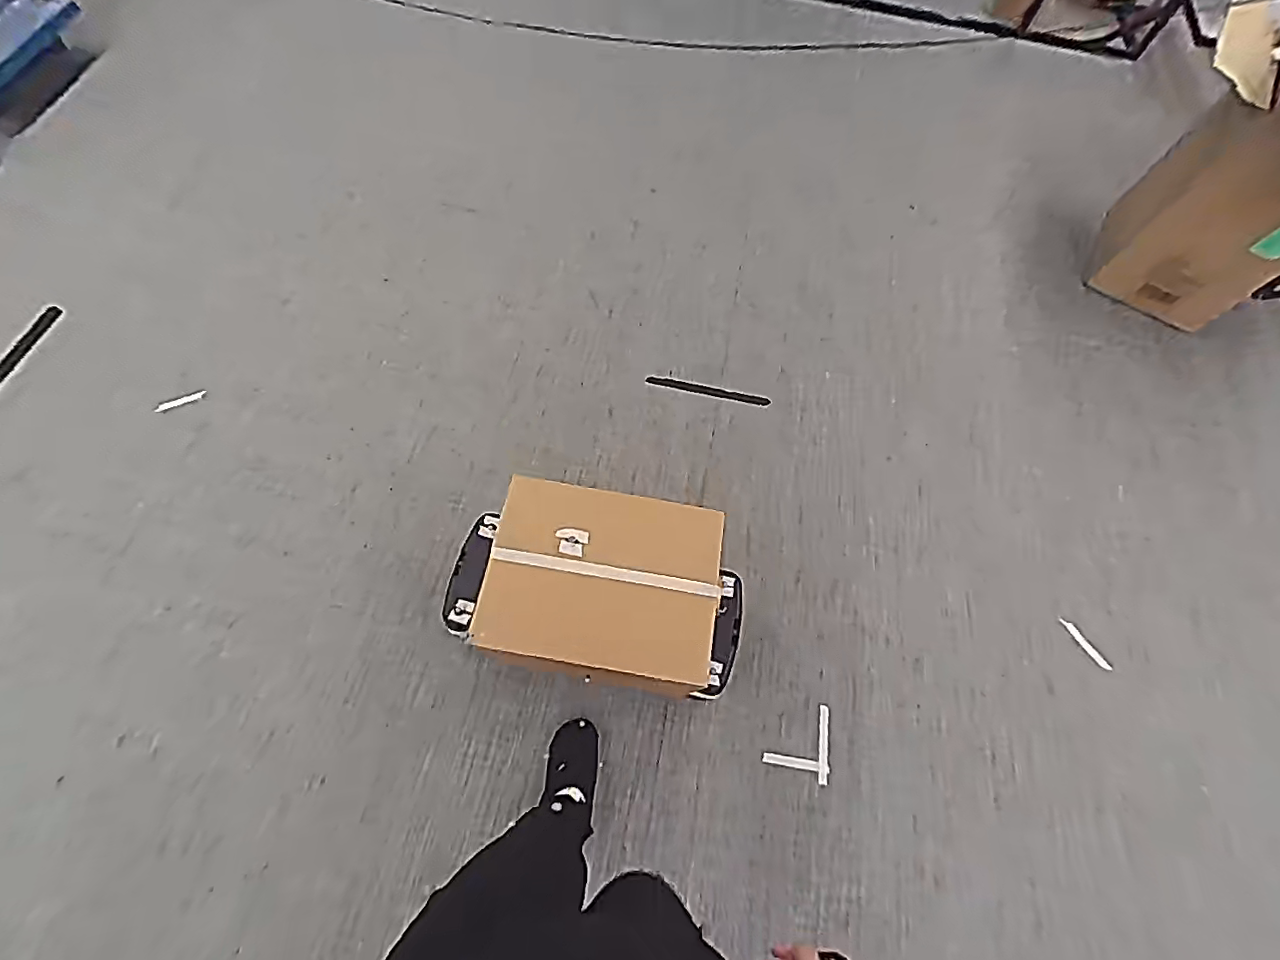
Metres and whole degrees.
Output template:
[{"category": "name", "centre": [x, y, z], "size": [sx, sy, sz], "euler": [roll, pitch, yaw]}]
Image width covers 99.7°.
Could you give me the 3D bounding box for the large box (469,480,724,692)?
[{"category": "large box", "centre": [-0.067, 0.226, 1.072], "size": [0.408, 0.320, 0.320], "euler": [10, 65, 1]}]
